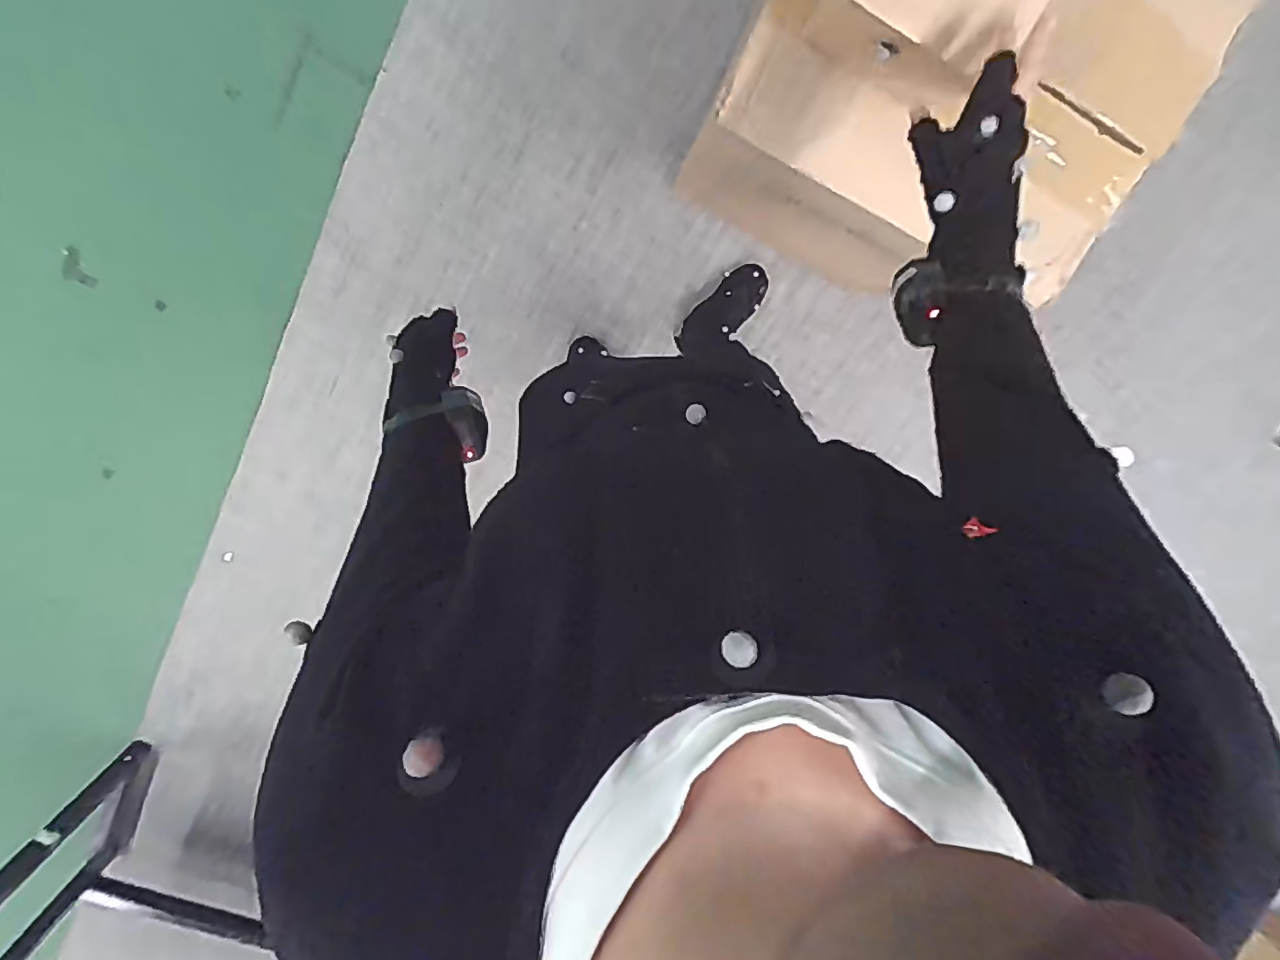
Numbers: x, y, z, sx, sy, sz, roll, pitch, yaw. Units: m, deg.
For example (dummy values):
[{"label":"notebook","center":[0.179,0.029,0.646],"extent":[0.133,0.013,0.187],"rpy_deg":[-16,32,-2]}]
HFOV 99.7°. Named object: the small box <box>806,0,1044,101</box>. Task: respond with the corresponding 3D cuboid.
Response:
[{"label":"small box","center":[0.295,-0.514,0.542],"extent":[0.179,0.176,0.168],"rpy_deg":[23,117,-11]}]
